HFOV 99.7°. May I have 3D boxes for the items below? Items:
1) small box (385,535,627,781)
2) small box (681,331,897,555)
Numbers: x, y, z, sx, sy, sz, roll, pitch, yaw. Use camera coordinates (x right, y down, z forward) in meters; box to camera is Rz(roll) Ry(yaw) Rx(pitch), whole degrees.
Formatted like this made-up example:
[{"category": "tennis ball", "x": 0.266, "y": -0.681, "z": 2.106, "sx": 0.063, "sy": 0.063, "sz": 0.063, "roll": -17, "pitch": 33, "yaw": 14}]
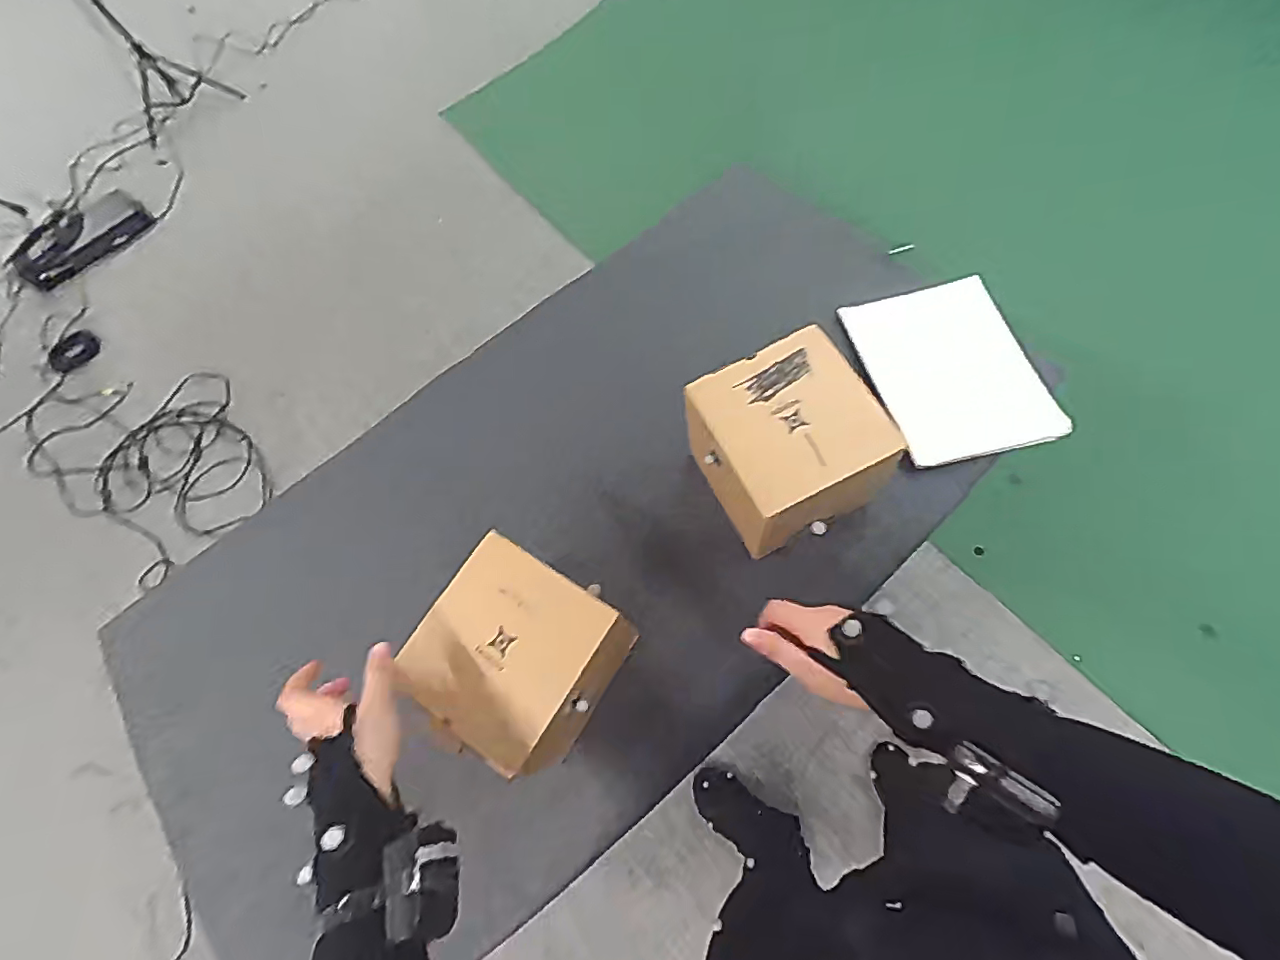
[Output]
[{"category": "small box", "x": -0.129, "y": 0.194, "z": 0.599, "sx": 0.168, "sy": 0.176, "sz": 0.179, "roll": 29, "pitch": 74, "yaw": 16}, {"category": "small box", "x": 0.161, "y": -0.035, "z": 0.646, "sx": 0.168, "sy": 0.176, "sz": 0.179, "roll": -27, "pitch": 68, "yaw": -3}]
